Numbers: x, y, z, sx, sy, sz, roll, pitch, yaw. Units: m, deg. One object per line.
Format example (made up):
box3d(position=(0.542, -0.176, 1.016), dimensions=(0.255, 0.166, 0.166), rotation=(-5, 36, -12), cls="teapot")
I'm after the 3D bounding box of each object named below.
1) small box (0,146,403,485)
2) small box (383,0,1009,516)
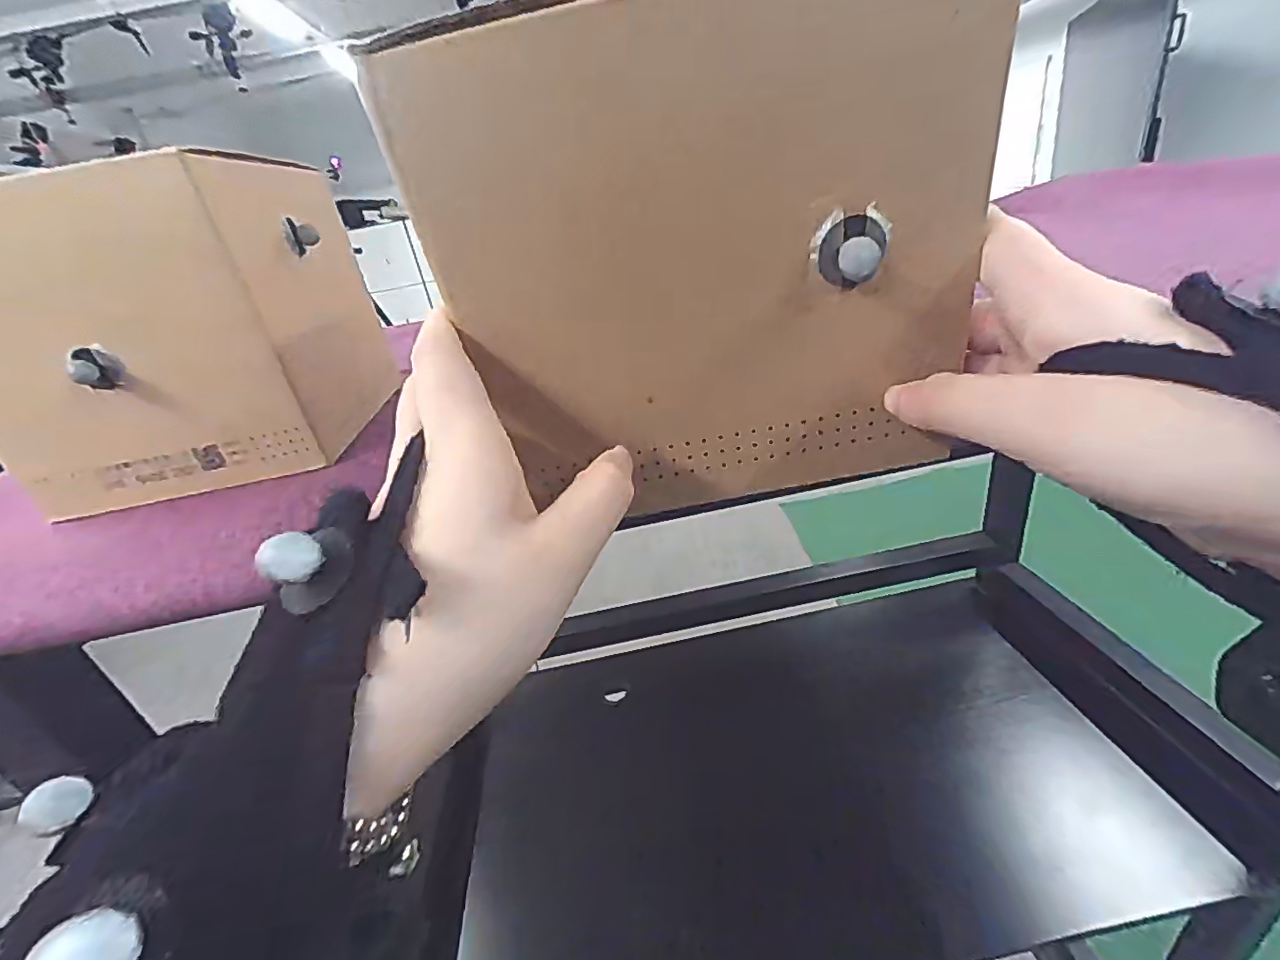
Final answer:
box3d(position=(-0.283, -0.106, 0.363), dimensions=(0.168, 0.176, 0.179), rotation=(-11, 27, -3), cls="small box")
box3d(position=(0.024, -0.105, 0.254), dimensions=(0.179, 0.176, 0.168), rotation=(-11, 33, 4), cls="small box")
